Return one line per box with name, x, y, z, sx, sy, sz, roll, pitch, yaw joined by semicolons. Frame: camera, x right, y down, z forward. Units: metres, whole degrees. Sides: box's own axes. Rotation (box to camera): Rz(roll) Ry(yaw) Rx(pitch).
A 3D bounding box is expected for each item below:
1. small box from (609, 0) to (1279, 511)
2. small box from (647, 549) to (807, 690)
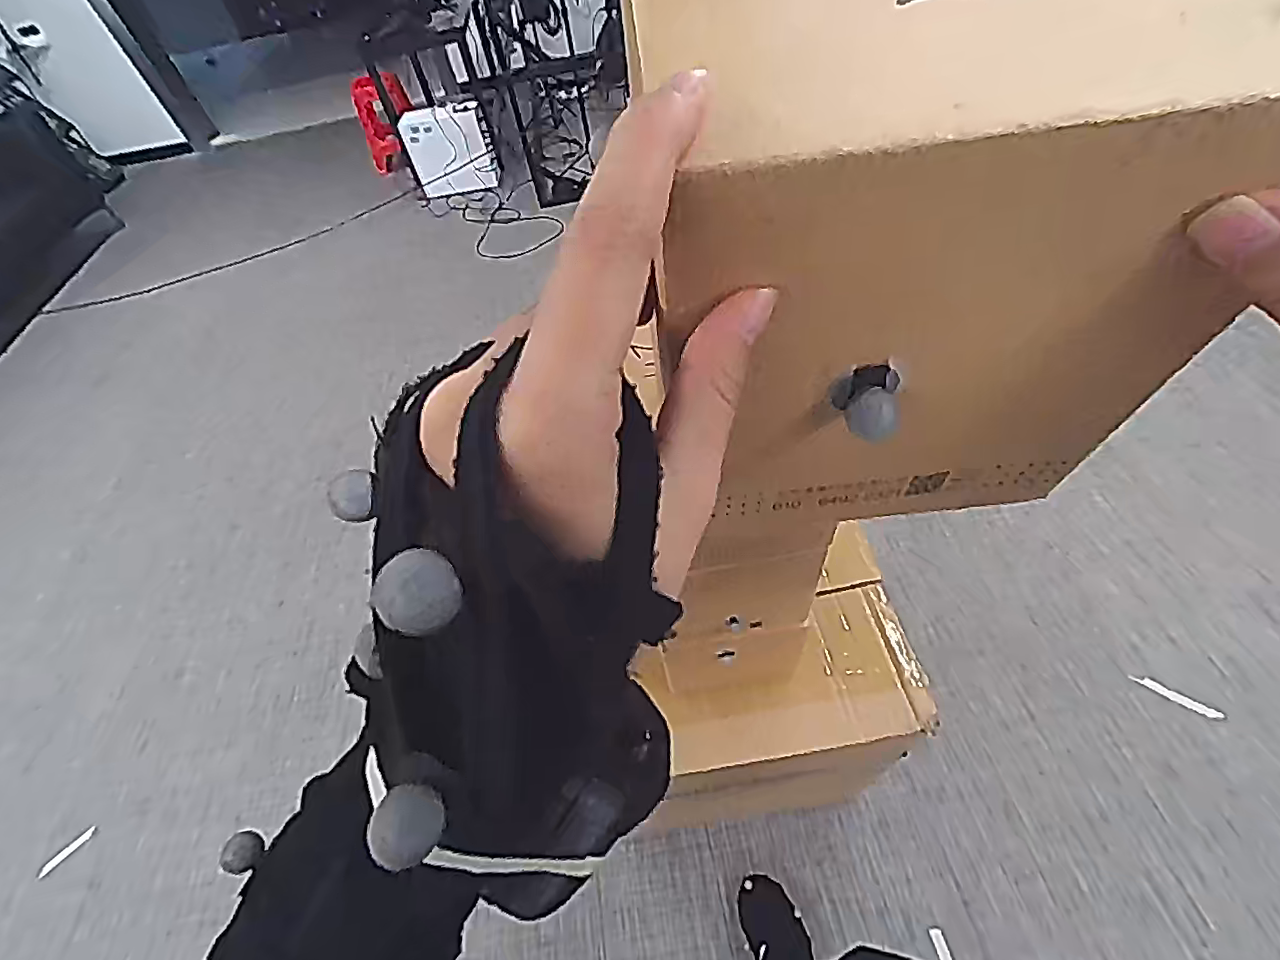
small box;0.082;-0.099;0.223;0.168;0.176;0.179;-7;56;3
small box;0.109;0.167;0.727;0.179;0.176;0.168;-10;51;1
